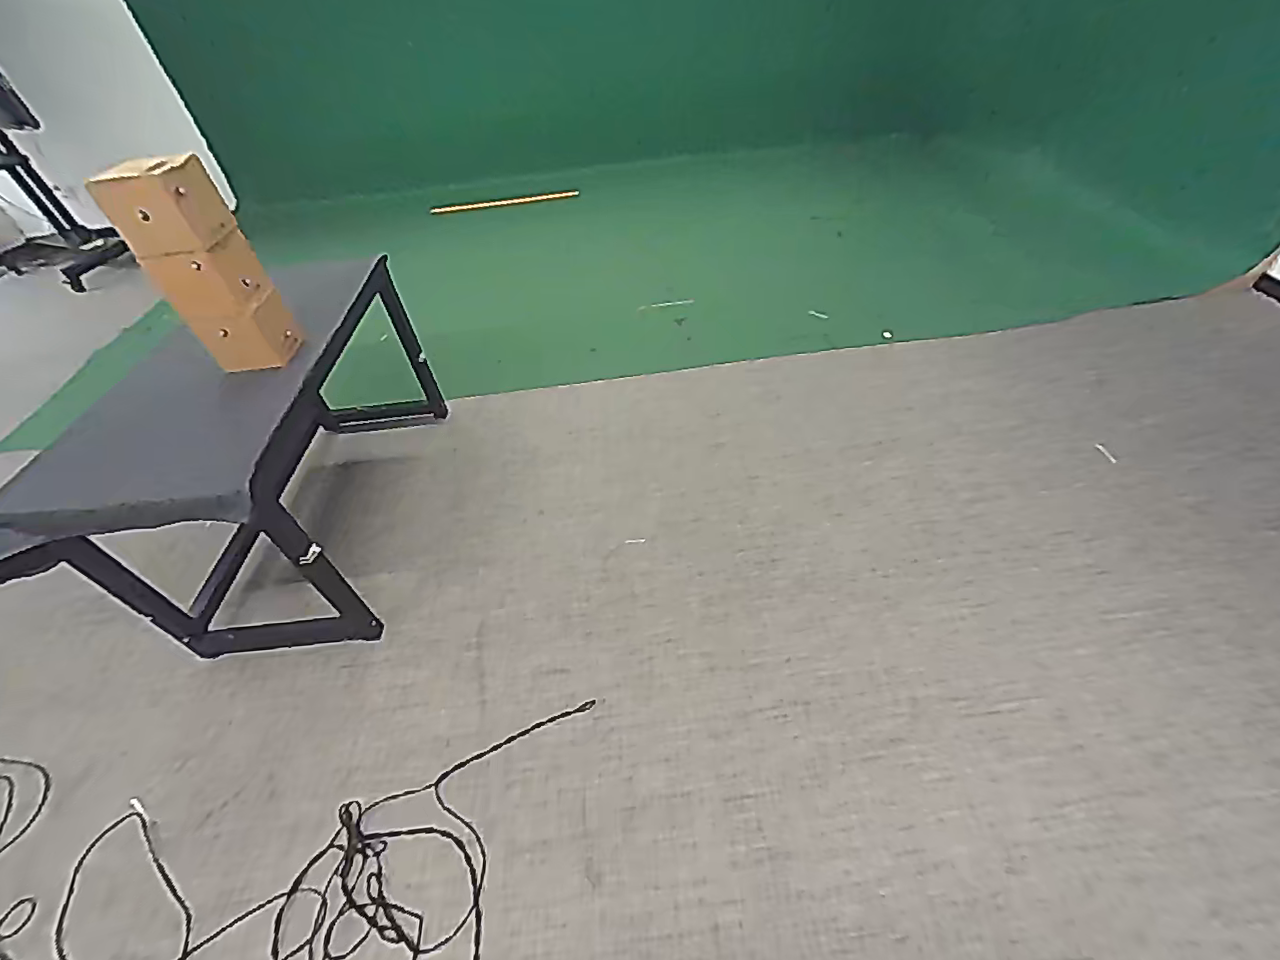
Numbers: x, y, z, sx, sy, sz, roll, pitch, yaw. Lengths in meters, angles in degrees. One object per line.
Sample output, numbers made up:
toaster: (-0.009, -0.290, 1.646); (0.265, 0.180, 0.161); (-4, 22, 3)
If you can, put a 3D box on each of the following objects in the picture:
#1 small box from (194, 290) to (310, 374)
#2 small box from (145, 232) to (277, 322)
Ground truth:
small box: (-1.089, -0.415, 1.533); (0.179, 0.176, 0.168); (-6, 45, 2)
small box: (-1.114, -0.530, 1.421); (0.179, 0.176, 0.168); (-6, 44, 2)
